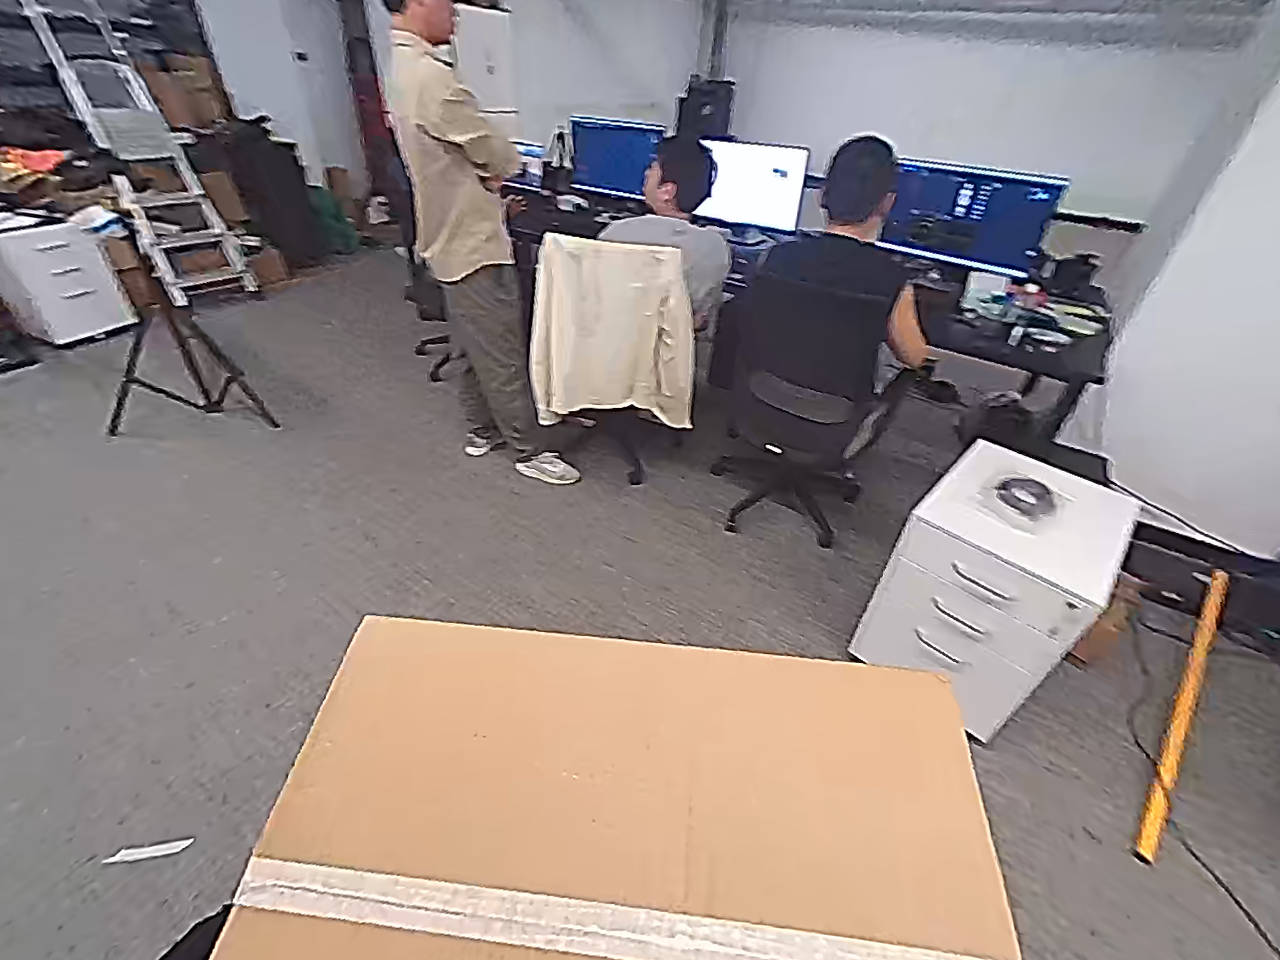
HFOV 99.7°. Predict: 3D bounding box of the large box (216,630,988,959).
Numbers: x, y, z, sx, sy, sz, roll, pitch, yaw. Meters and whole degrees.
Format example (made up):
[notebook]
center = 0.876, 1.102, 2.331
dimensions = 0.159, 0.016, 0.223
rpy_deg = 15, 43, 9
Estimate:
[large box]
center = -0.018, 0.333, 0.401
dimensions = 0.408, 0.320, 0.320
rpy_deg = 4, 51, 5
